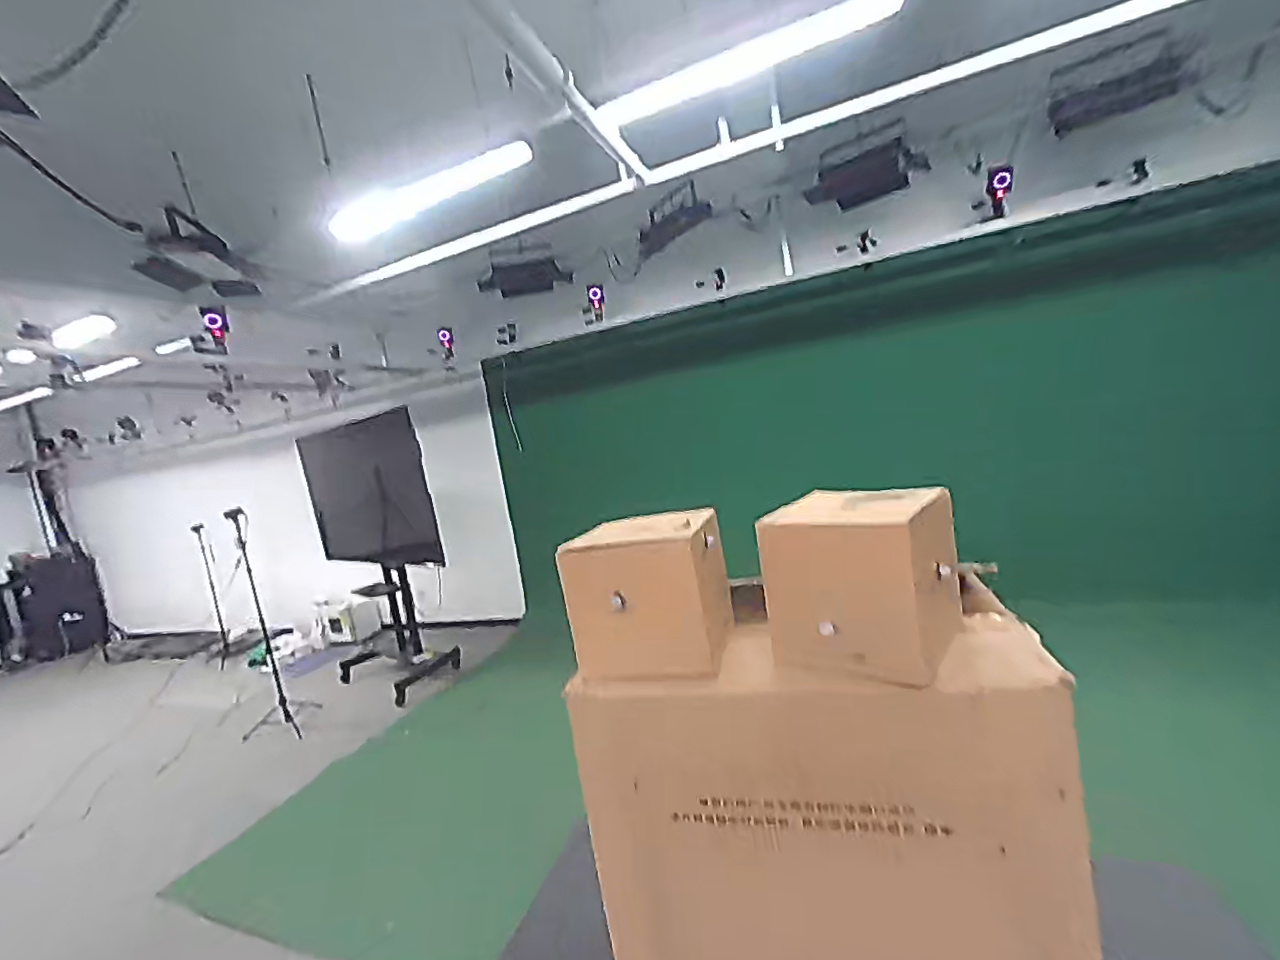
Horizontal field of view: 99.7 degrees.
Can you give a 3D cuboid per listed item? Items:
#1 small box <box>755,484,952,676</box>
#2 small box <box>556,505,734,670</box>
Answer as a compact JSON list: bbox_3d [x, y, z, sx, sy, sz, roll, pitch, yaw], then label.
[{"bbox_3d":[0.258,0.106,0.643,0.168,0.176,0.179,-5,8,42],"label":"small box"},{"bbox_3d":[0.016,0.142,0.729,0.179,0.176,0.168,-10,6,19],"label":"small box"}]
